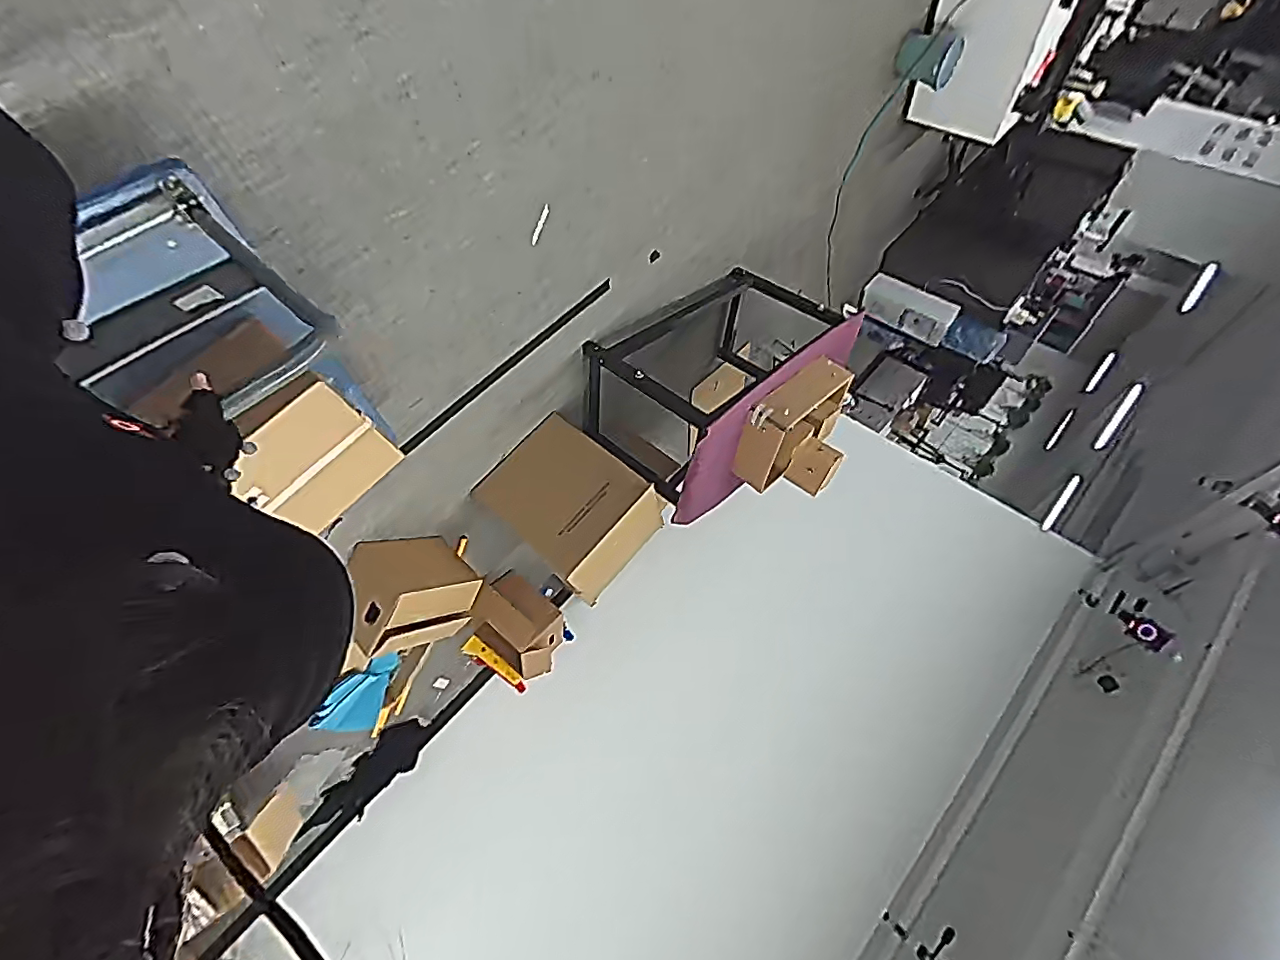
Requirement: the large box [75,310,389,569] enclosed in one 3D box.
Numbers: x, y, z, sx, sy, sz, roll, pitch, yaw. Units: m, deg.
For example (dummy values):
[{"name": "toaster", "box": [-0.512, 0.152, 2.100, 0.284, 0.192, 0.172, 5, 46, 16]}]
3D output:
[{"name": "large box", "box": [-0.866, -0.086, 1.191, 0.408, 0.320, 0.320, -45, 155, -14]}]
